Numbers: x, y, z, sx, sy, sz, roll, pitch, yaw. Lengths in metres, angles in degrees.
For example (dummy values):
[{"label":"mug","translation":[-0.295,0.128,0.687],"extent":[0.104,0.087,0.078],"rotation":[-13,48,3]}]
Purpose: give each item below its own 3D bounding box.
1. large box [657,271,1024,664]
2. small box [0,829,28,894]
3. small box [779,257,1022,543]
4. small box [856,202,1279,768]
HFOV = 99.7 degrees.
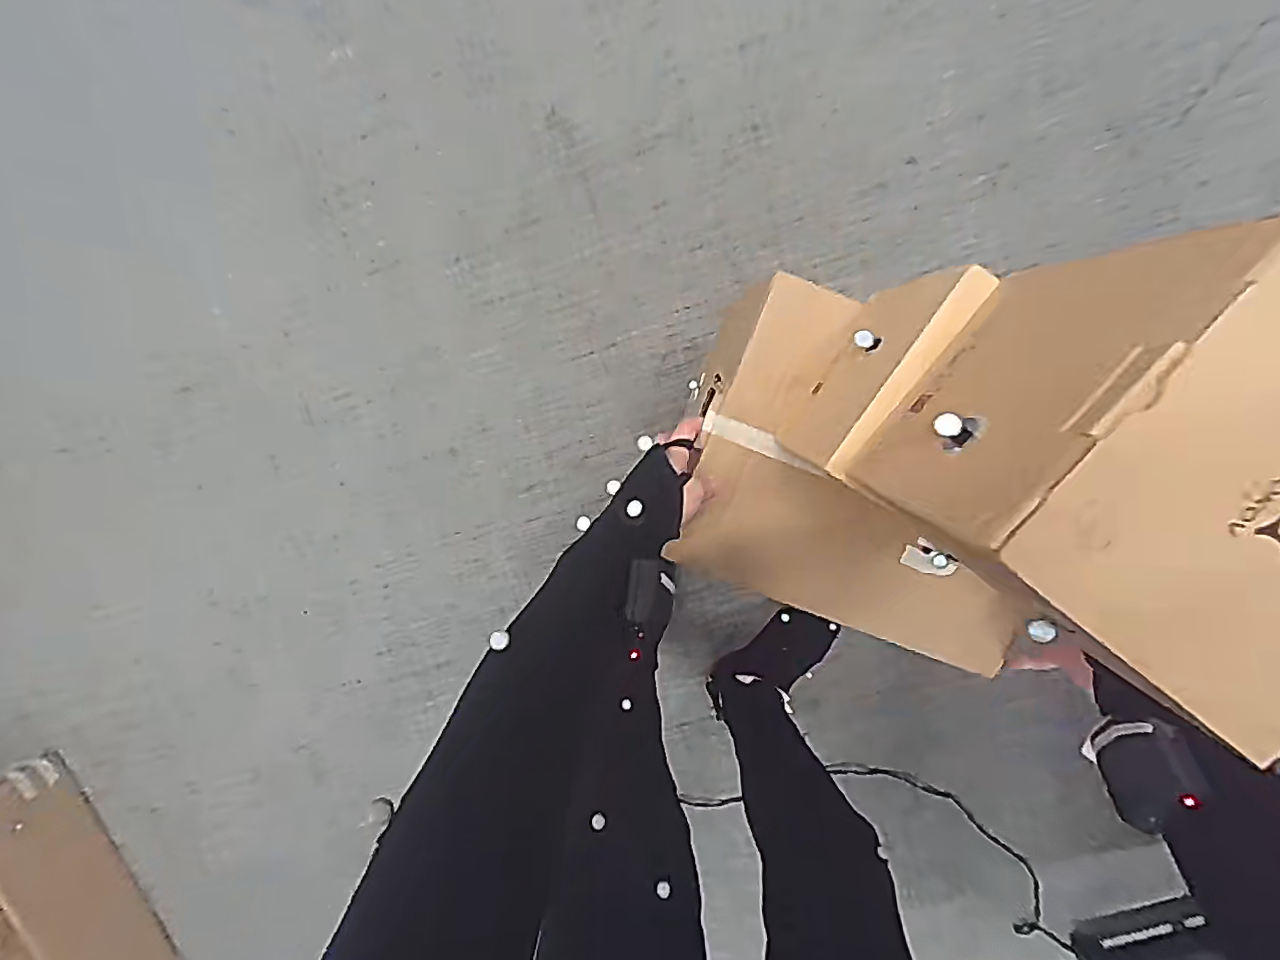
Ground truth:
[{"label":"large box","translation":[0.259,-0.031,0.700],"extent":[0.408,0.320,0.320],"rotation":[20,104,-4]},{"label":"small box","translation":[-1.435,0.816,1.092],"extent":[0.168,0.176,0.179],"rotation":[-21,101,6]},{"label":"small box","translation":[0.241,-0.049,0.447],"extent":[0.179,0.176,0.168],"rotation":[32,101,-6]},{"label":"small box","translation":[0.253,-0.004,0.289],"extent":[0.179,0.176,0.168],"rotation":[37,101,-7]}]
